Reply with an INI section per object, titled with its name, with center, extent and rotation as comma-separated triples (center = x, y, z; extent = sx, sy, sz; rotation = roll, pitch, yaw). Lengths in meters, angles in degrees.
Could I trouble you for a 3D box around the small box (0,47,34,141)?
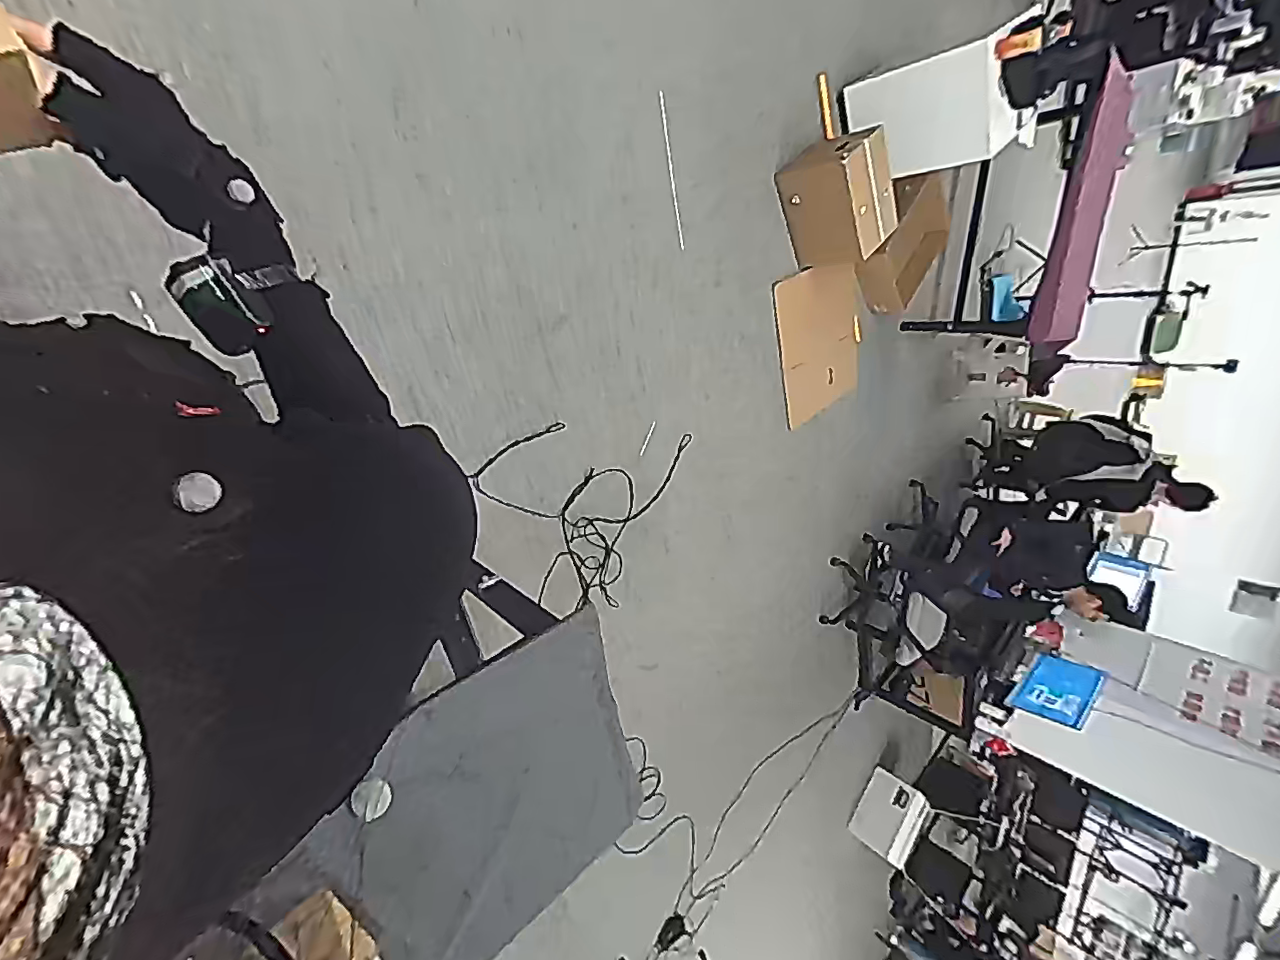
[small box]
center = -0.460, -0.263, 0.255
extent = 0.179, 0.176, 0.168
rotation = -37, 122, -32
